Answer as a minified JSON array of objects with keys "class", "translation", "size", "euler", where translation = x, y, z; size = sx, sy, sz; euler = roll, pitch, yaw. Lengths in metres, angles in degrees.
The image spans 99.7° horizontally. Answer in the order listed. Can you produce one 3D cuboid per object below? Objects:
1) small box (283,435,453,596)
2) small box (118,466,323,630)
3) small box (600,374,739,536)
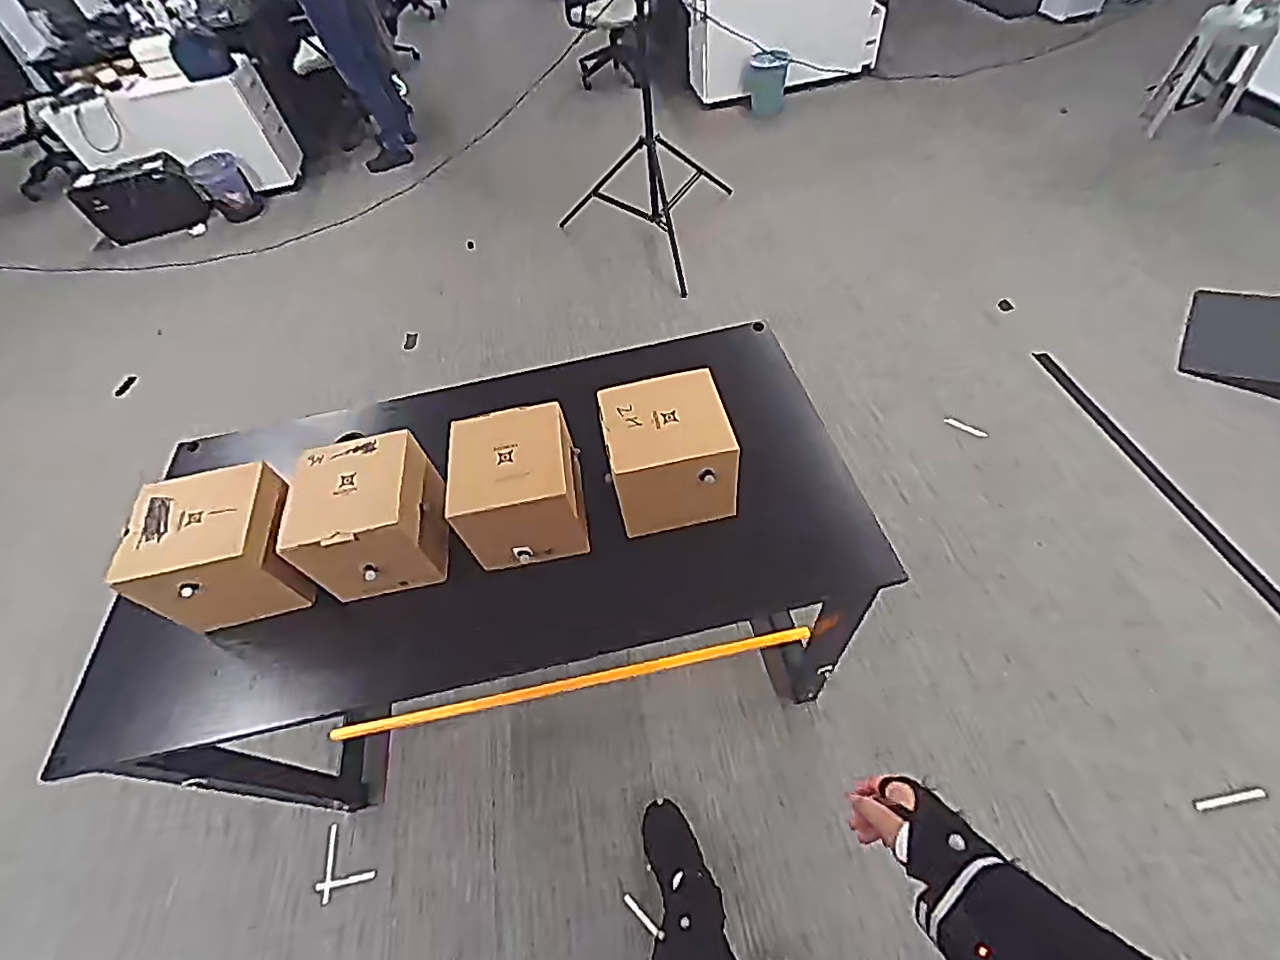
[{"class":"small box","translation":[-0.398,0.063,0.828],"size":[0.168,0.176,0.179],"euler":[-12,54,-1]},{"class":"small box","translation":[-0.608,0.108,0.821],"size":[0.179,0.176,0.168],"euler":[-13,54,-4]},{"class":"small box","translation":[0.044,-0.034,0.838],"size":[0.179,0.176,0.168],"euler":[-12,53,-1]}]
